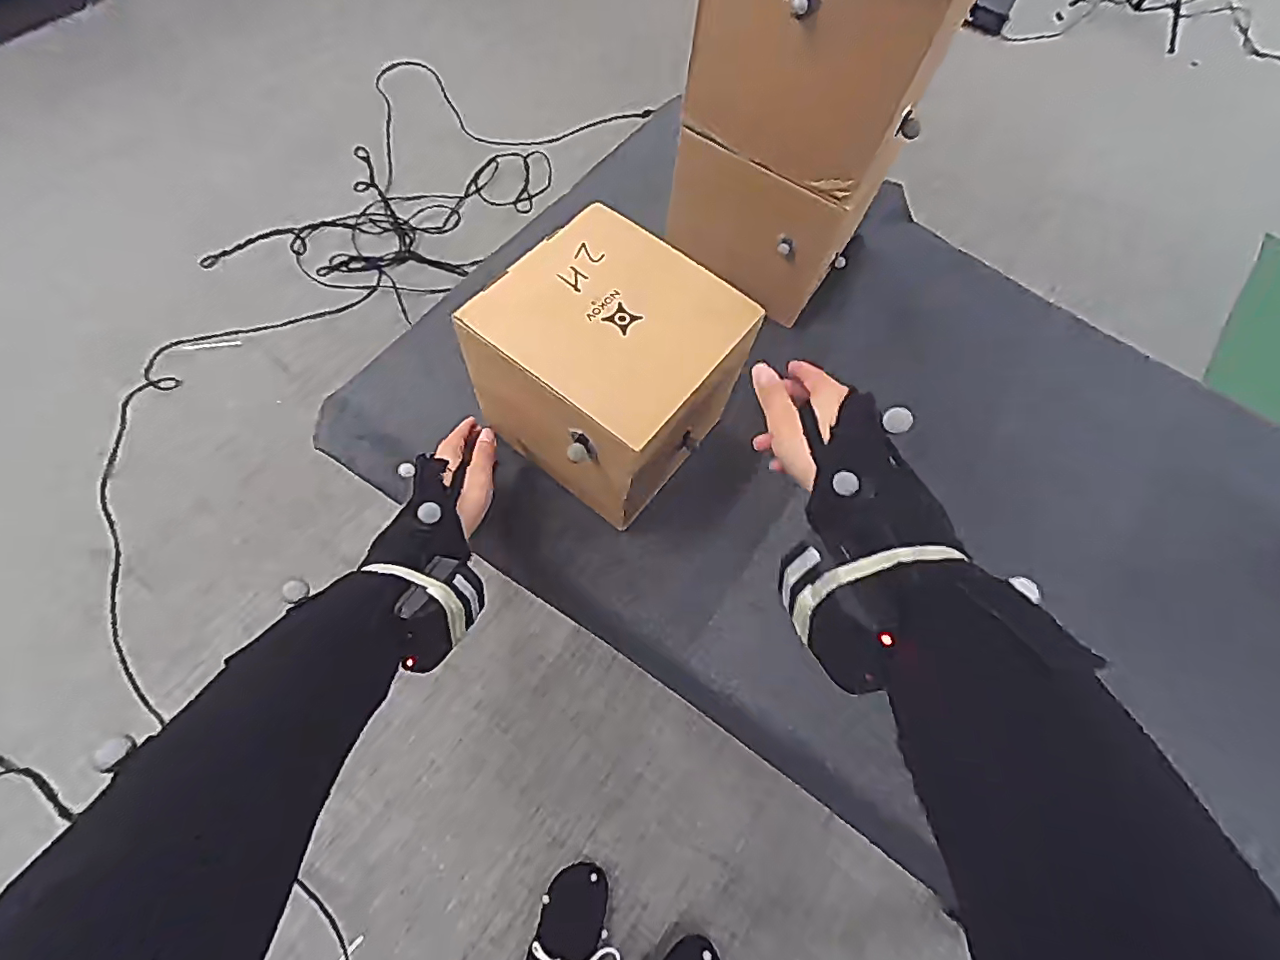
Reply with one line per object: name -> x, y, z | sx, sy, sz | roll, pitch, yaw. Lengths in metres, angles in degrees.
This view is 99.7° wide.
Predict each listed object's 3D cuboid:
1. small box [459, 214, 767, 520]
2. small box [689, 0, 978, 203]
small box -> -0.023, -0.084, 0.479 | 0.179, 0.176, 0.168 | 36, 67, 11
small box -> 0.157, -0.366, 0.437 | 0.179, 0.176, 0.168 | 31, 71, 8
